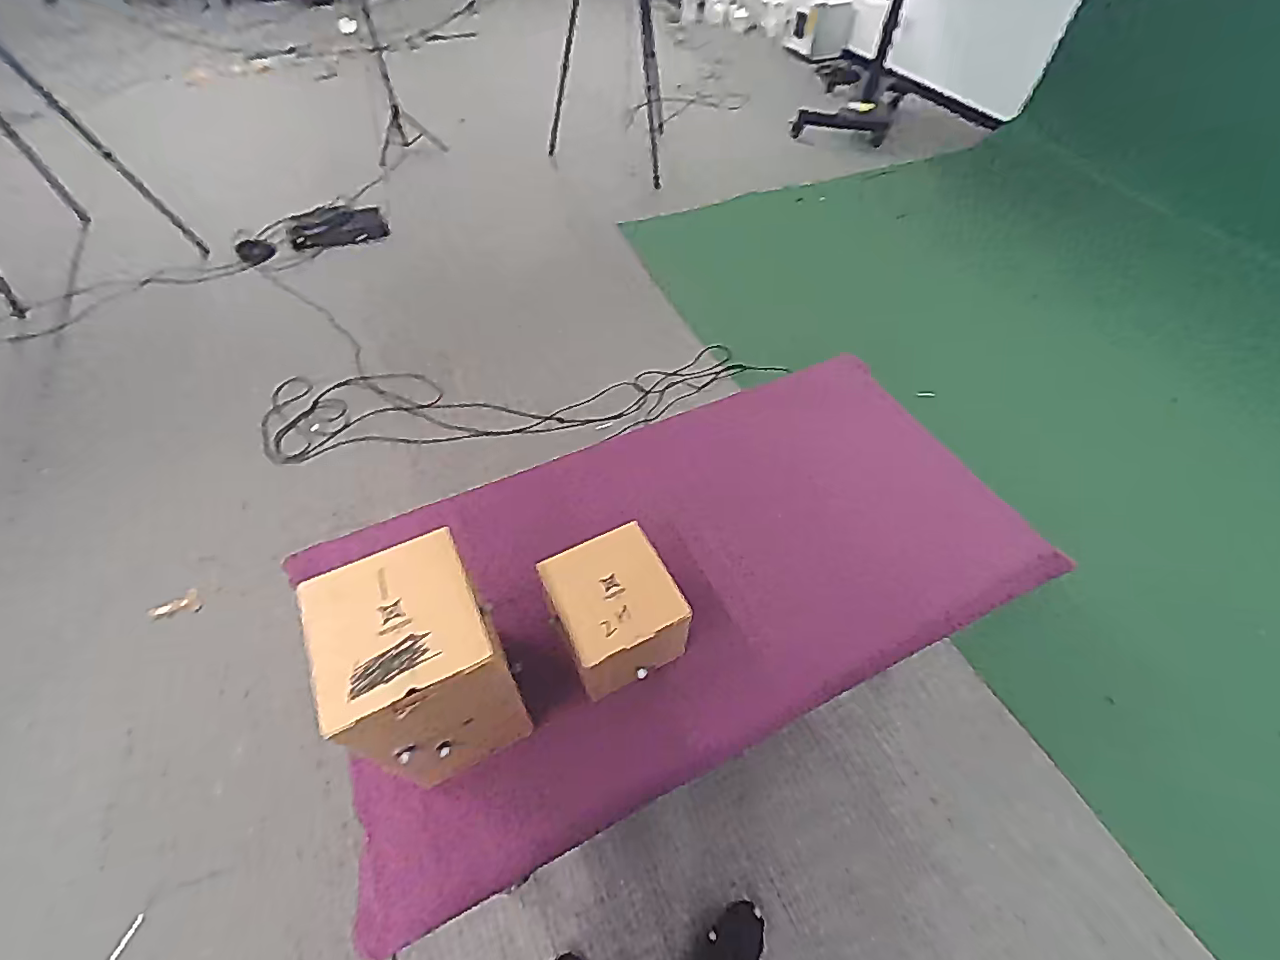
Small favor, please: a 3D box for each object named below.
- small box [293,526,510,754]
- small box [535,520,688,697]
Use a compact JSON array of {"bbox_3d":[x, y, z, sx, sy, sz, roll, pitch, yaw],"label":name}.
[{"bbox_3d":[-0.263,0.190,0.622,0.168,0.176,0.179,-22,56,-18],"label":"small box"},{"bbox_3d":[-0.046,0.199,0.828,0.168,0.176,0.179,-23,57,-17],"label":"small box"}]
